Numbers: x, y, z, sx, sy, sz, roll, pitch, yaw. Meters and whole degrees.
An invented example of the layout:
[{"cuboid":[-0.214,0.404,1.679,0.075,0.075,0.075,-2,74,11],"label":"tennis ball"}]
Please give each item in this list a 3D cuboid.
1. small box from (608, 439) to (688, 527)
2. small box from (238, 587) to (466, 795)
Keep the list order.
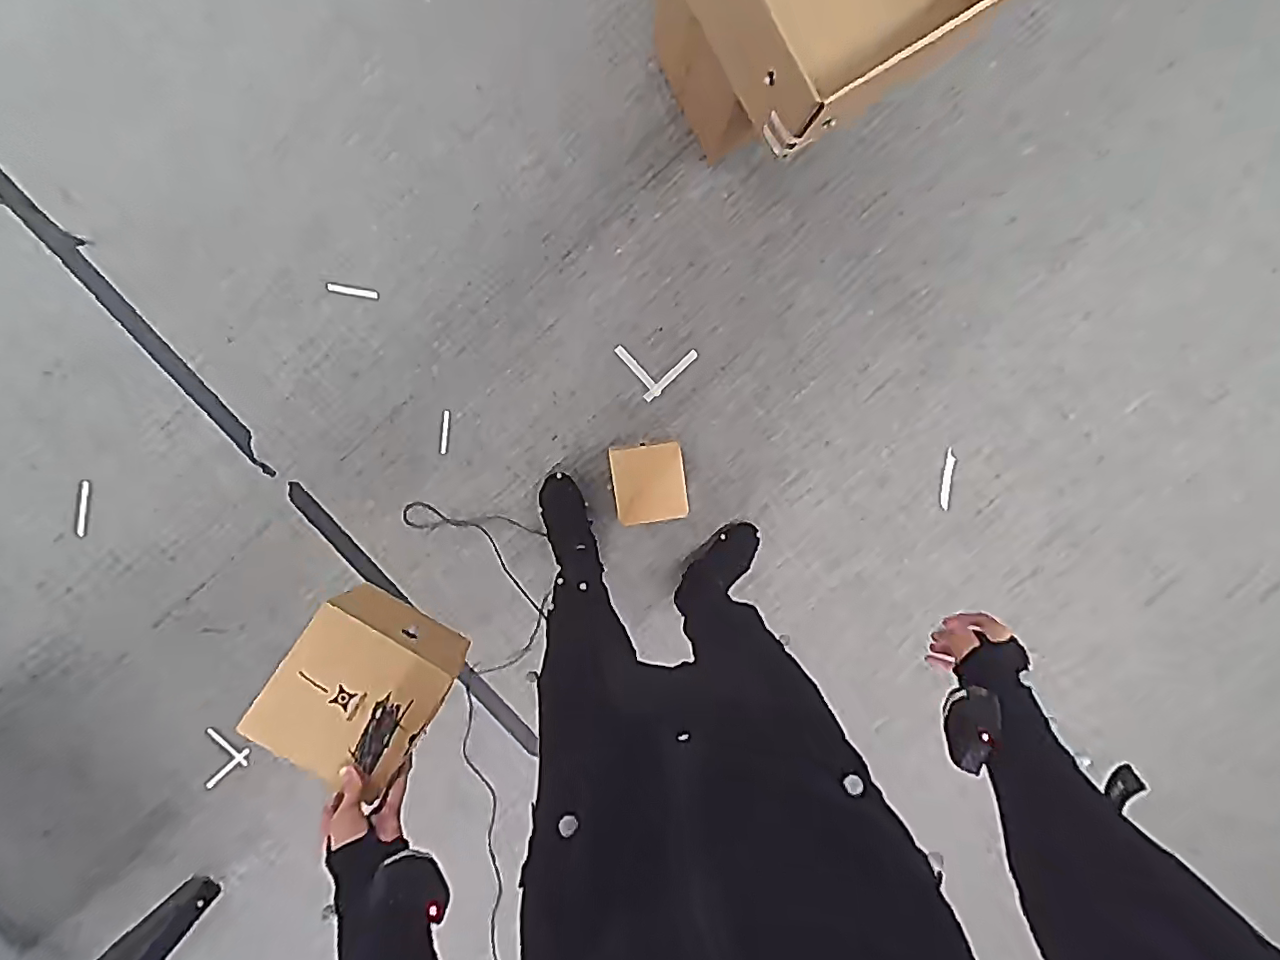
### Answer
[{"cuboid":[0.017,0.002,1.314,0.168,0.176,0.179,-9,98,-1],"label":"small box"},{"cuboid":[-0.346,0.253,0.696,0.179,0.176,0.168,33,80,-7],"label":"small box"}]
